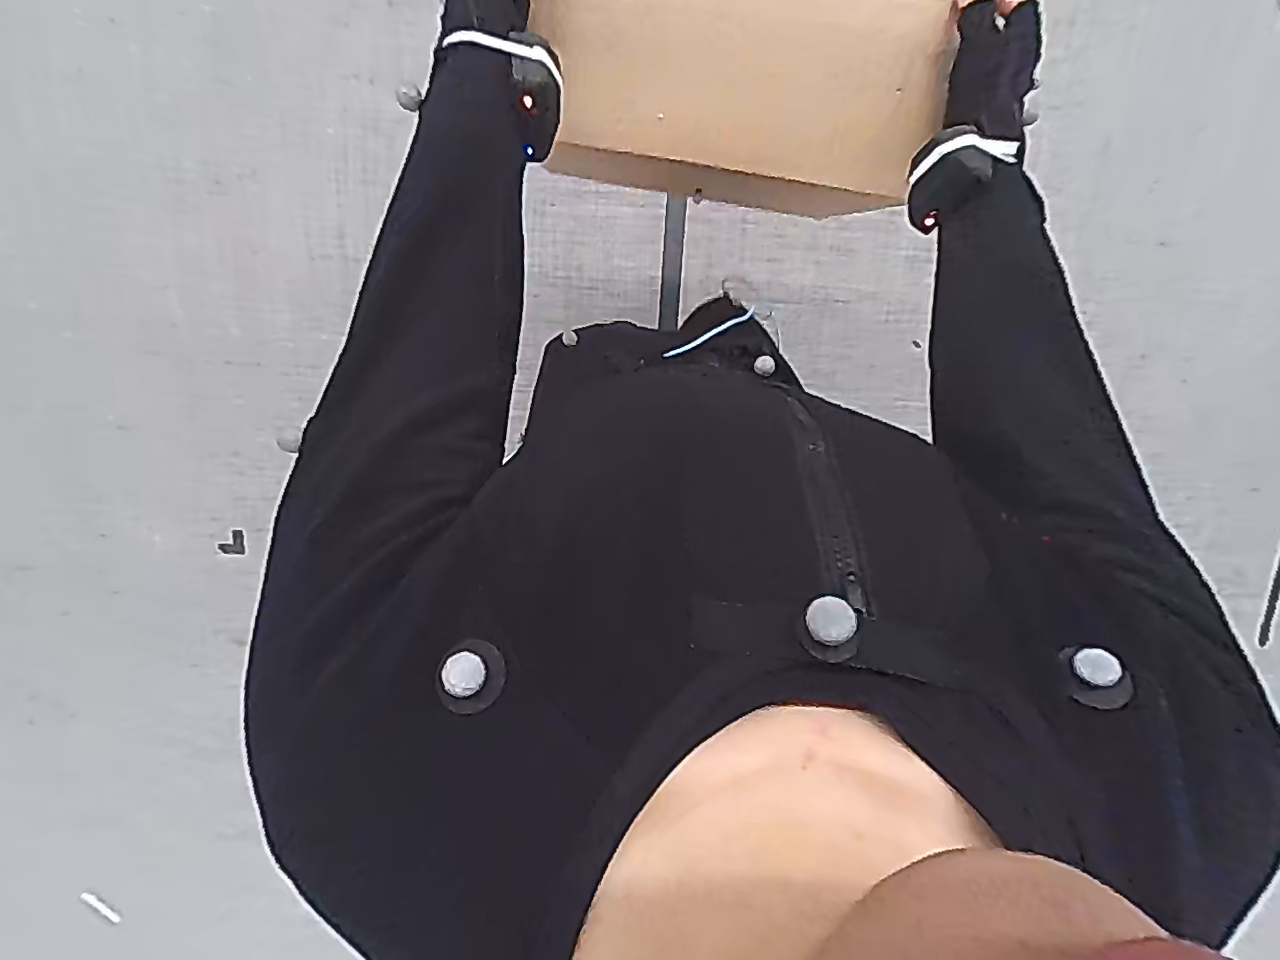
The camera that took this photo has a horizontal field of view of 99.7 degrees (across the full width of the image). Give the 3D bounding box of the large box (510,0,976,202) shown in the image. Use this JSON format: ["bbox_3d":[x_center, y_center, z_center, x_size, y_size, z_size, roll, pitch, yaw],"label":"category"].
[{"bbox_3d":[0.096,-0.505,0.587,0.408,0.320,0.320,8,113,-4],"label":"large box"}]
